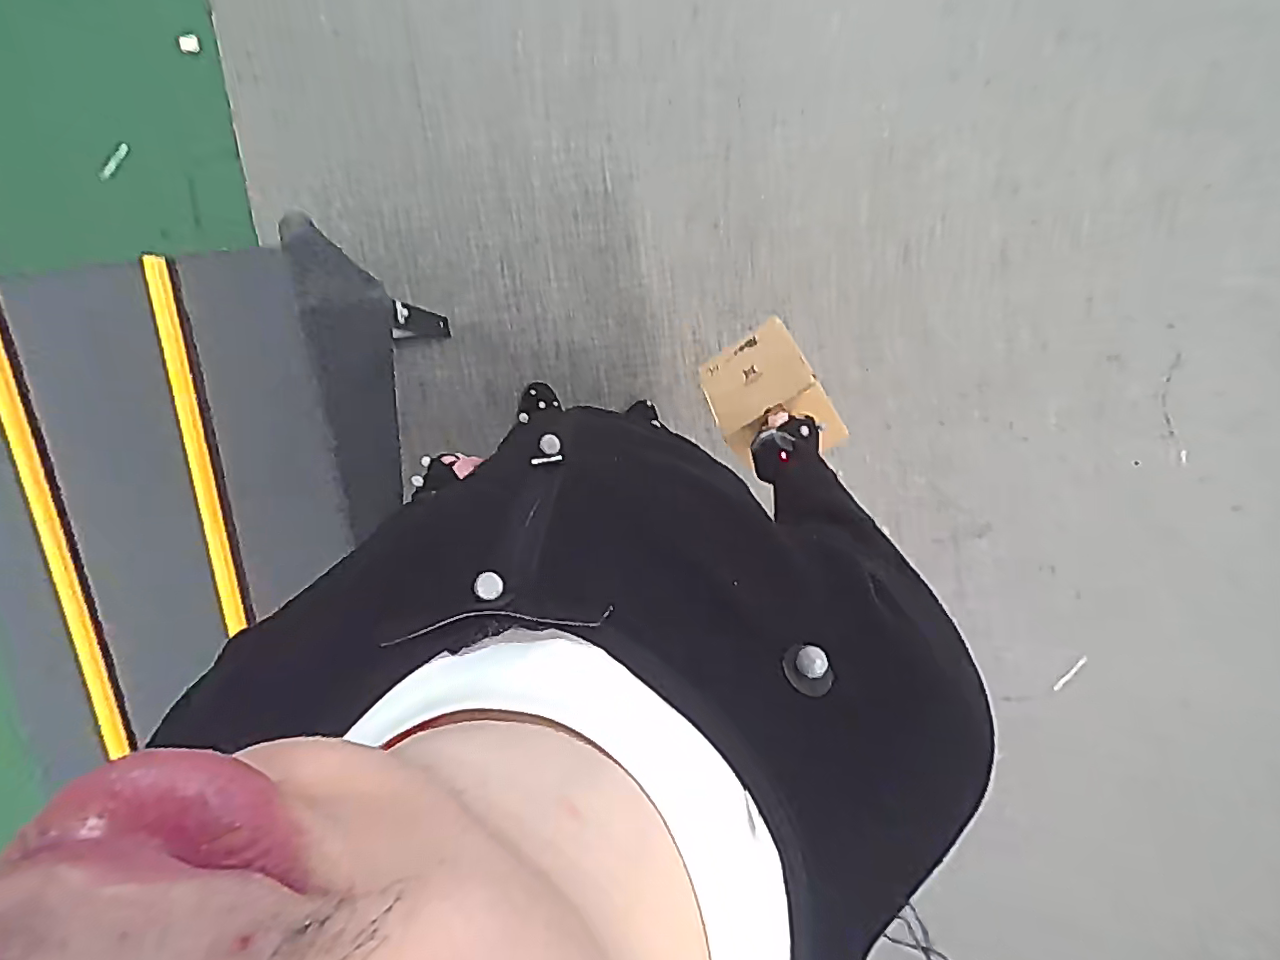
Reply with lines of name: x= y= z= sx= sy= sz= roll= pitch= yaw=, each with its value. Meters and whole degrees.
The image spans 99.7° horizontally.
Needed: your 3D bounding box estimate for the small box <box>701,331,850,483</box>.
small box: x=0.237 y=-0.115 z=0.946 sx=0.168 sy=0.179 sz=0.176 roll=-34 pitch=136 yaw=20
